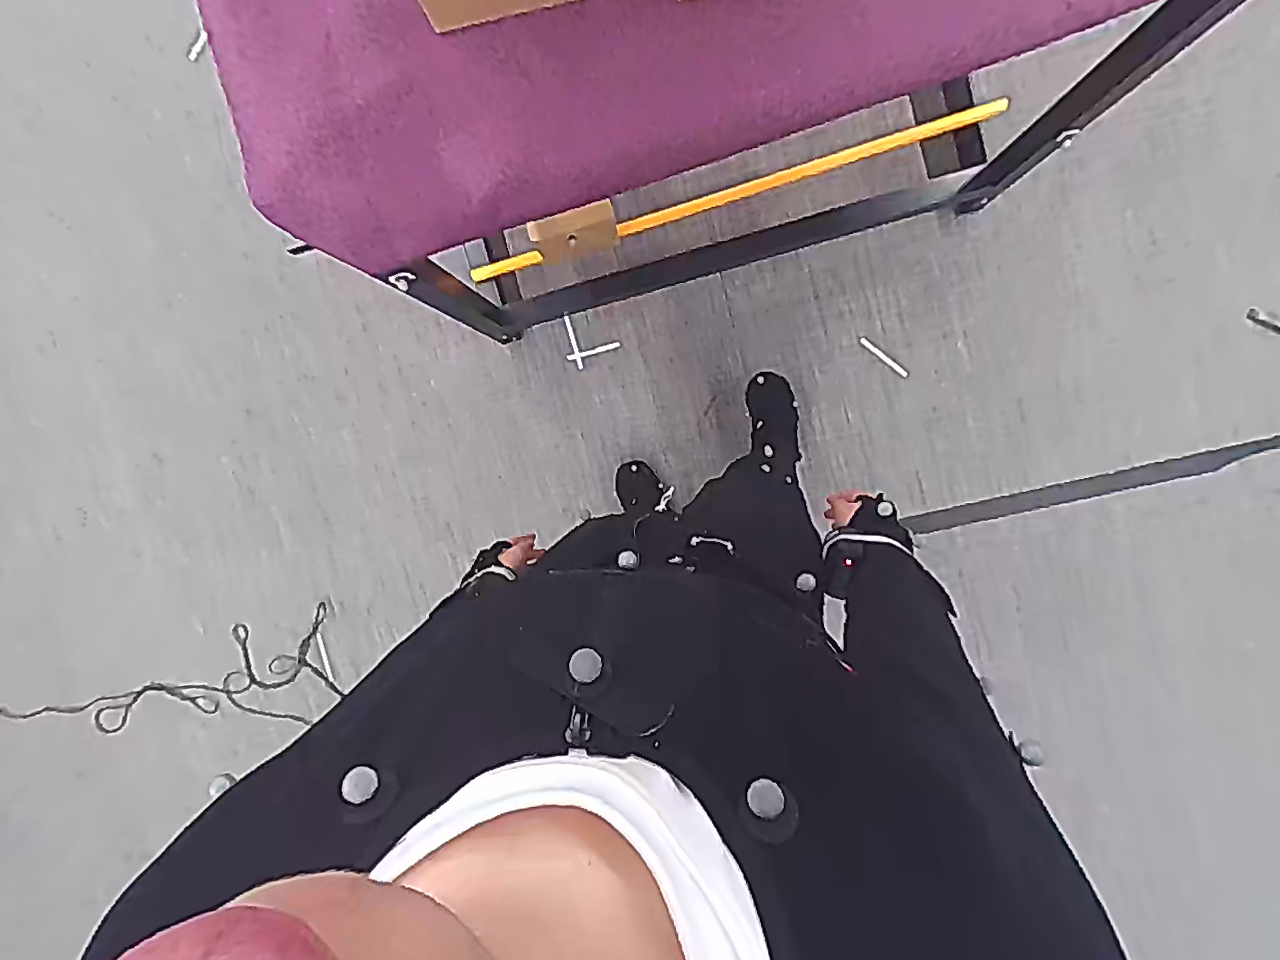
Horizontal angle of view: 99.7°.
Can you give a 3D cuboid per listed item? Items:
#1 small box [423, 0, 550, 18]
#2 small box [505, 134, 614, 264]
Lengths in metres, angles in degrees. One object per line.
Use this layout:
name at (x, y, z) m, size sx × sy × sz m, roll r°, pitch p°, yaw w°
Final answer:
small box at (-0.161, -0.586, 0.505) m, size 0.179 × 0.176 × 0.168 m, roll -10°, pitch 93°, yaw 3°
small box at (-0.158, -0.575, 1.130) m, size 0.179 × 0.176 × 0.168 m, roll -16°, pitch 95°, yaw 4°
